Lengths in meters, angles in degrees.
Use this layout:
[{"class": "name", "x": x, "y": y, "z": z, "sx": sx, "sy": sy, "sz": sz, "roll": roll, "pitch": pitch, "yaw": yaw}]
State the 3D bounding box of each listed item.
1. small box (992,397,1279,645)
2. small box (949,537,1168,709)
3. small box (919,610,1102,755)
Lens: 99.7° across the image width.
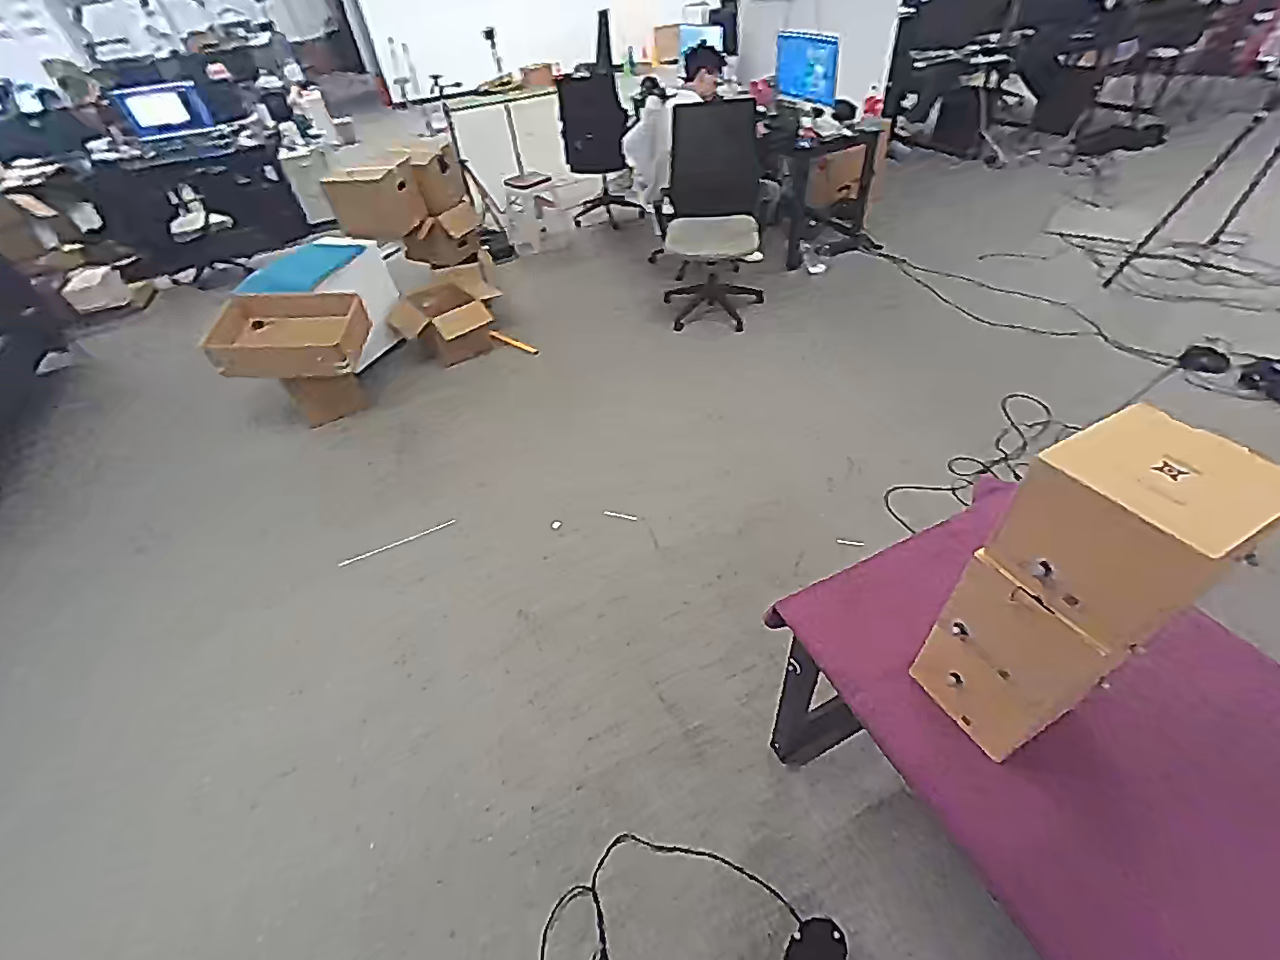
[{"class": "small box", "x": 0.531, "y": 0.043, "z": 0.587, "sx": 0.179, "sy": 0.176, "sz": 0.168, "roll": -22, "pitch": 46, "yaw": -15}, {"class": "small box", "x": 0.537, "y": 0.161, "z": 0.700, "sx": 0.179, "sy": 0.176, "sz": 0.168, "roll": -22, "pitch": 46, "yaw": -16}, {"class": "small box", "x": 0.553, "y": 0.277, "z": 0.815, "sx": 0.179, "sy": 0.176, "sz": 0.168, "roll": -23, "pitch": 46, "yaw": -16}]
